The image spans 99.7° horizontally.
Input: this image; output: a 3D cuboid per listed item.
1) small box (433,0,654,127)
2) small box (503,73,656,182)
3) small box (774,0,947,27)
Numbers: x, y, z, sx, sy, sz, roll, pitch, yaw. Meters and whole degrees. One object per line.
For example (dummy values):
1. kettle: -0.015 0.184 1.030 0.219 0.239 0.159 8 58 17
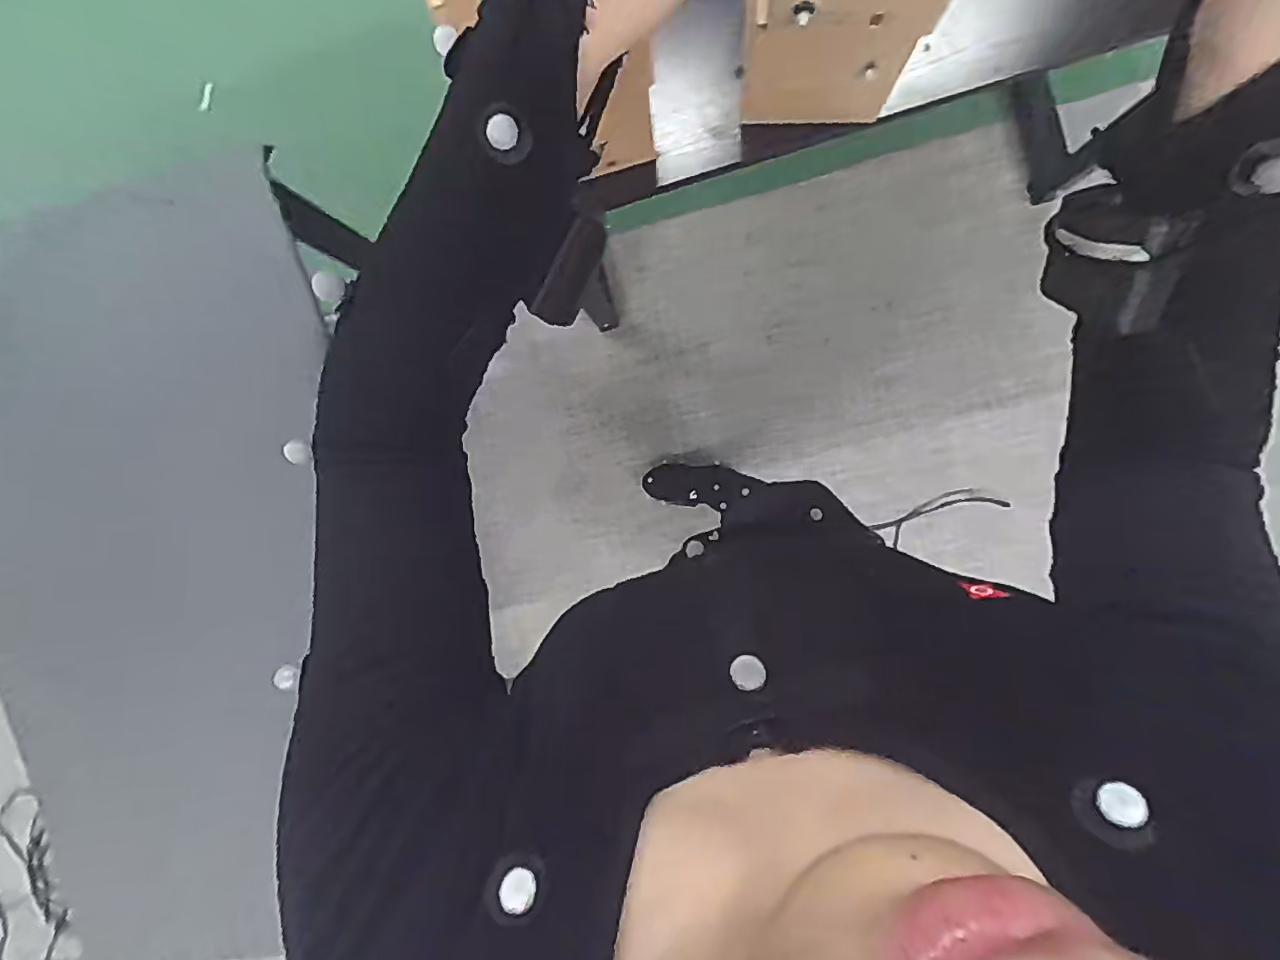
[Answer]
1. small box: -0.087 -0.467 0.490 0.179 0.176 0.168 -14 92 7
2. small box: -0.081 -0.490 0.651 0.168 0.176 0.179 -14 91 6
3. small box: 0.210 -0.528 0.454 0.168 0.176 0.179 5 93 5
